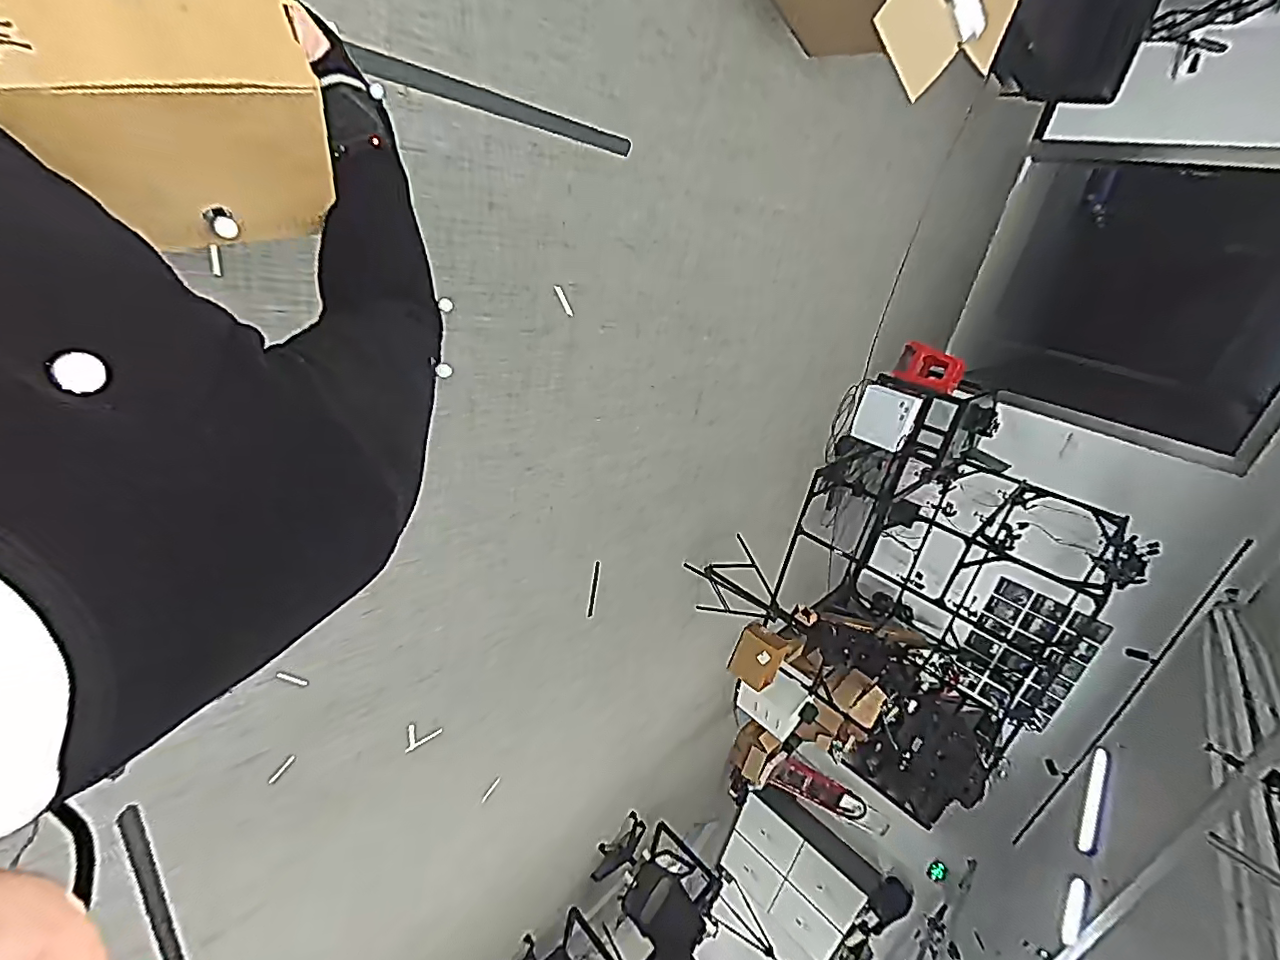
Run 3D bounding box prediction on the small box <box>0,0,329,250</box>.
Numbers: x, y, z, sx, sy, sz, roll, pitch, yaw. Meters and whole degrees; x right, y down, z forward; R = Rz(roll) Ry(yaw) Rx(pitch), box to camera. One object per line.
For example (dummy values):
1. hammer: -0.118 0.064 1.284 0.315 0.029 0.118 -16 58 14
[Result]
1. small box: -0.352 -0.298 0.403 0.179 0.176 0.168 -21 90 -26
